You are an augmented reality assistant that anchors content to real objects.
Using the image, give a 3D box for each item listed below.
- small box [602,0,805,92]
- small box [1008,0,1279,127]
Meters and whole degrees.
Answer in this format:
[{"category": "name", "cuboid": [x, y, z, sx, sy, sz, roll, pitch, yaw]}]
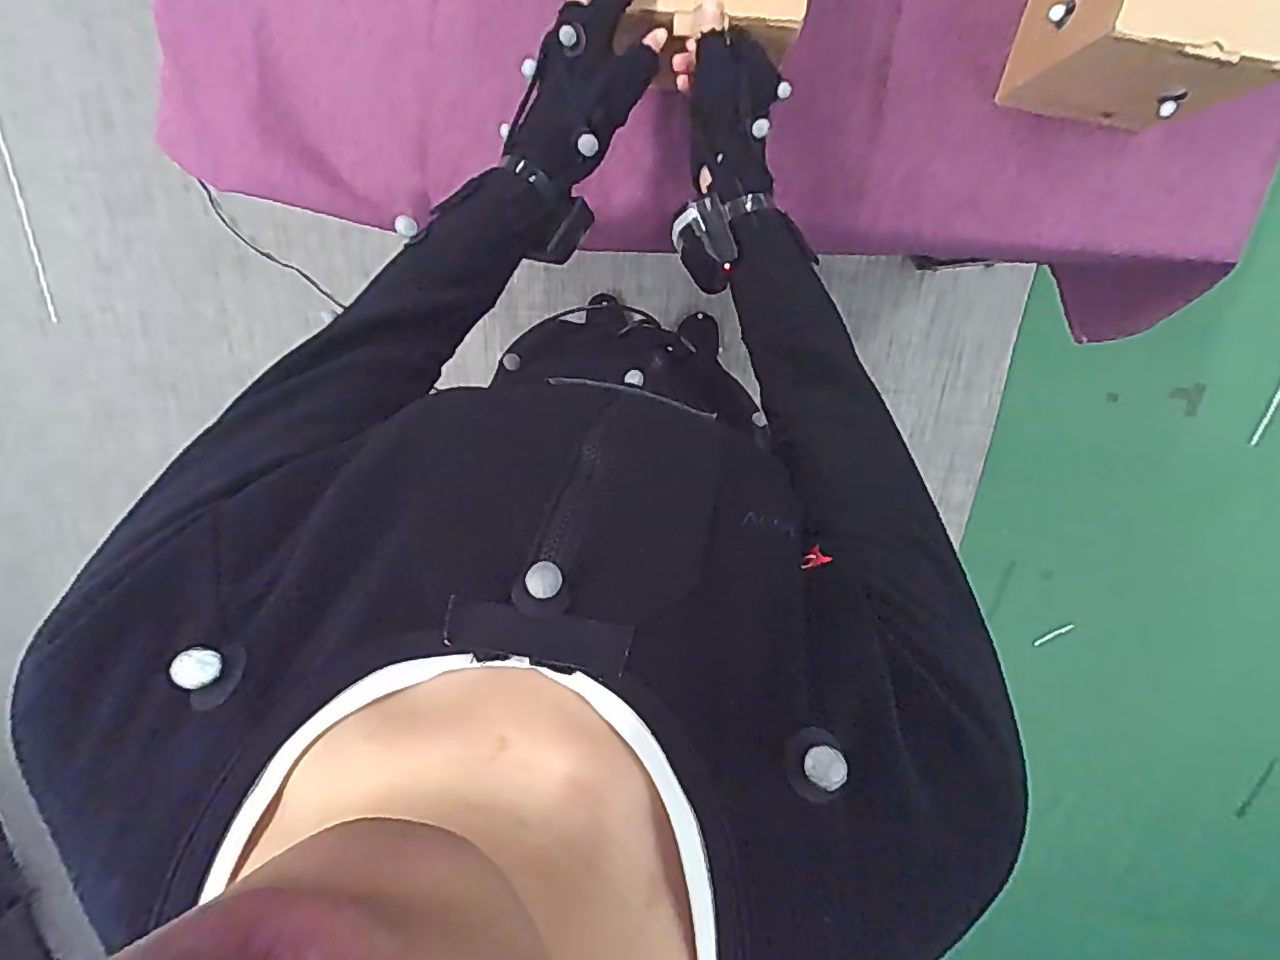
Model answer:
[{"category": "small box", "cuboid": [0.064, -0.477, 0.483, 0.168, 0.176, 0.179, 6, 110, 1]}, {"category": "small box", "cuboid": [0.467, -0.437, 0.471, 0.168, 0.176, 0.179, 11, 109, 0]}]
